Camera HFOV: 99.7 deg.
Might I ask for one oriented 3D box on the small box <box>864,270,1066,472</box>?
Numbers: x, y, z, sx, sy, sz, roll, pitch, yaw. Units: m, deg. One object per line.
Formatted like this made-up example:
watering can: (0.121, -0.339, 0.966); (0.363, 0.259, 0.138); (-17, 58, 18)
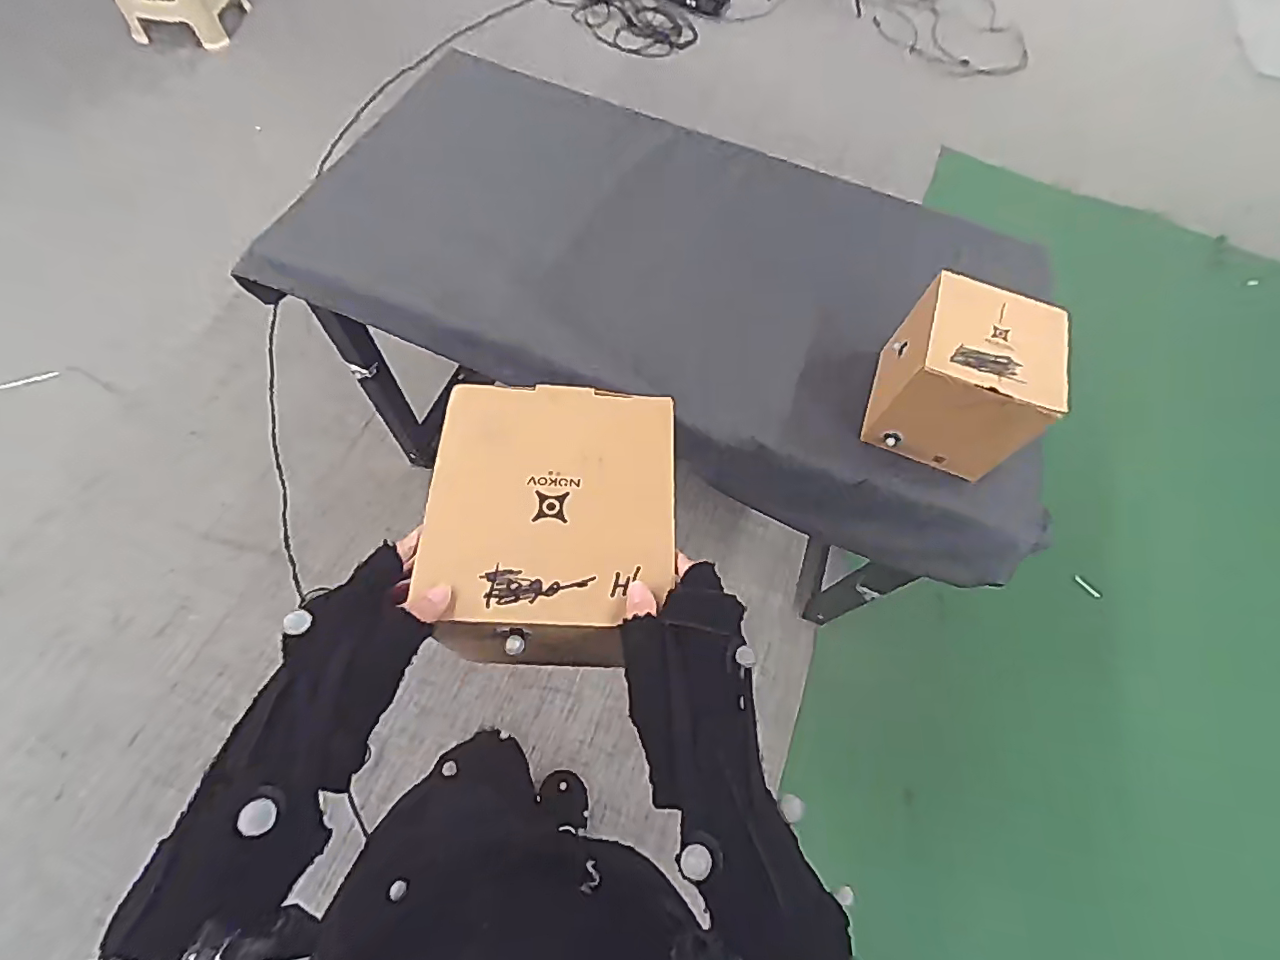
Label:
small box: (0.423, -0.137, 0.724); (0.168, 0.176, 0.179); (21, 63, 5)

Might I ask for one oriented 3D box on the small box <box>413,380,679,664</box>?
small box: (-0.061, 0.043, 0.440); (0.168, 0.176, 0.179); (3, 64, -3)
